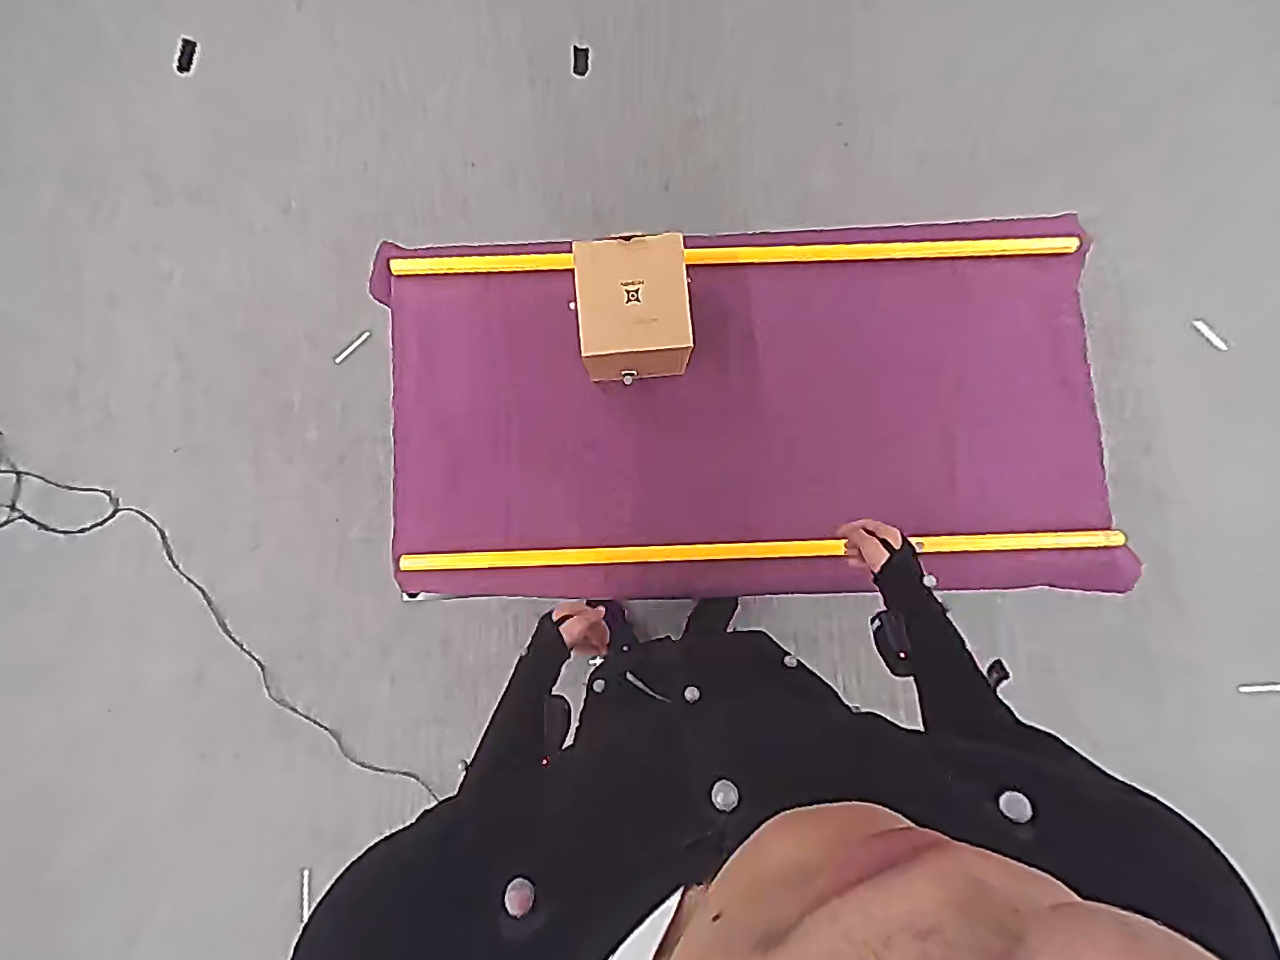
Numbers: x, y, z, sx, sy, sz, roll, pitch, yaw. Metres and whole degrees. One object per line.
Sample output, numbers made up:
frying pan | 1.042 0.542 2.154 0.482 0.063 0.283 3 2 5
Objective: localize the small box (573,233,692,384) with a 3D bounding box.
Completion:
small box | -0.013 -0.266 0.867 0.168 0.176 0.179 -5 86 0
